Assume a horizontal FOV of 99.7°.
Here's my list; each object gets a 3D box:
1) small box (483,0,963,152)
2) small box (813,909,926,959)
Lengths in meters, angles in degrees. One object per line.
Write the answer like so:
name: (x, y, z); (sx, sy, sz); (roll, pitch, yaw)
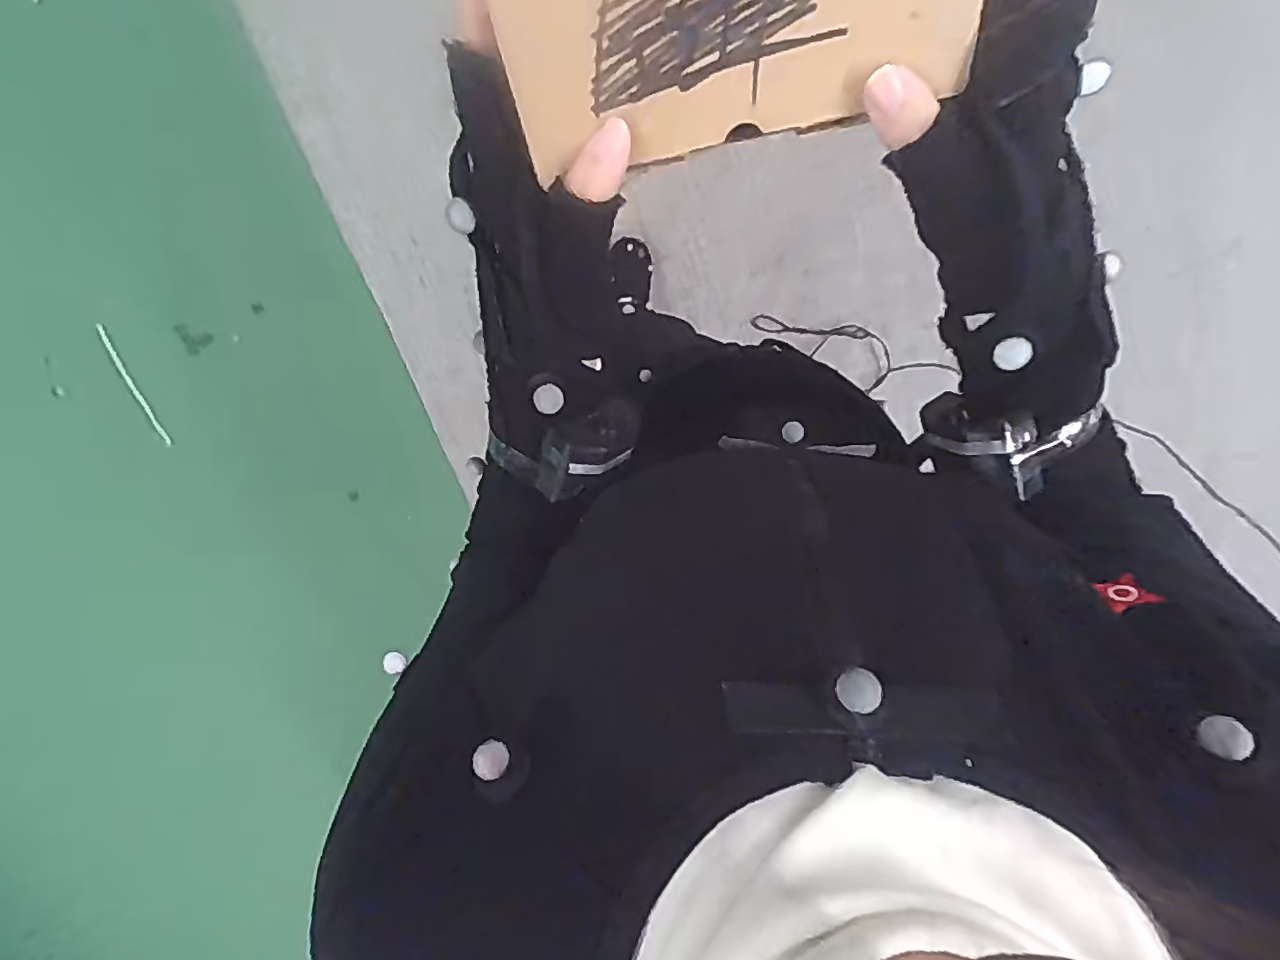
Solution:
small box: (0.018, -0.258, 0.203); (0.168, 0.176, 0.179); (-9, 135, 6)
small box: (0.400, 0.855, 0.880); (0.168, 0.176, 0.179); (-18, 107, 5)
